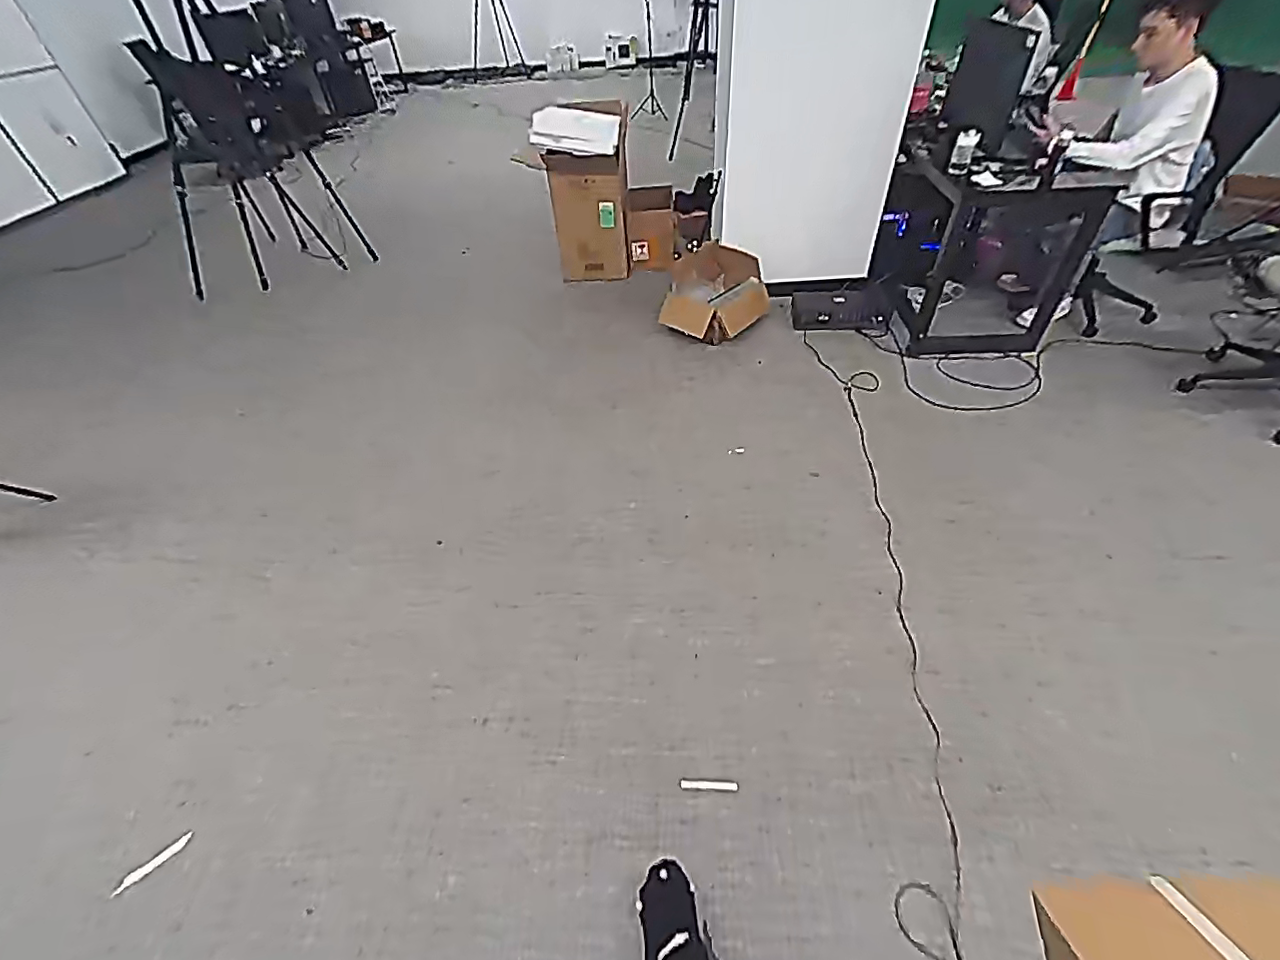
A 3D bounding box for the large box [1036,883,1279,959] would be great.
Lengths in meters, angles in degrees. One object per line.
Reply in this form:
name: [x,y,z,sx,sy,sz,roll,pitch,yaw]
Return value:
large box: [0.687,0.696,0.536,0.320,0.408,0.320,-11,86,13]
